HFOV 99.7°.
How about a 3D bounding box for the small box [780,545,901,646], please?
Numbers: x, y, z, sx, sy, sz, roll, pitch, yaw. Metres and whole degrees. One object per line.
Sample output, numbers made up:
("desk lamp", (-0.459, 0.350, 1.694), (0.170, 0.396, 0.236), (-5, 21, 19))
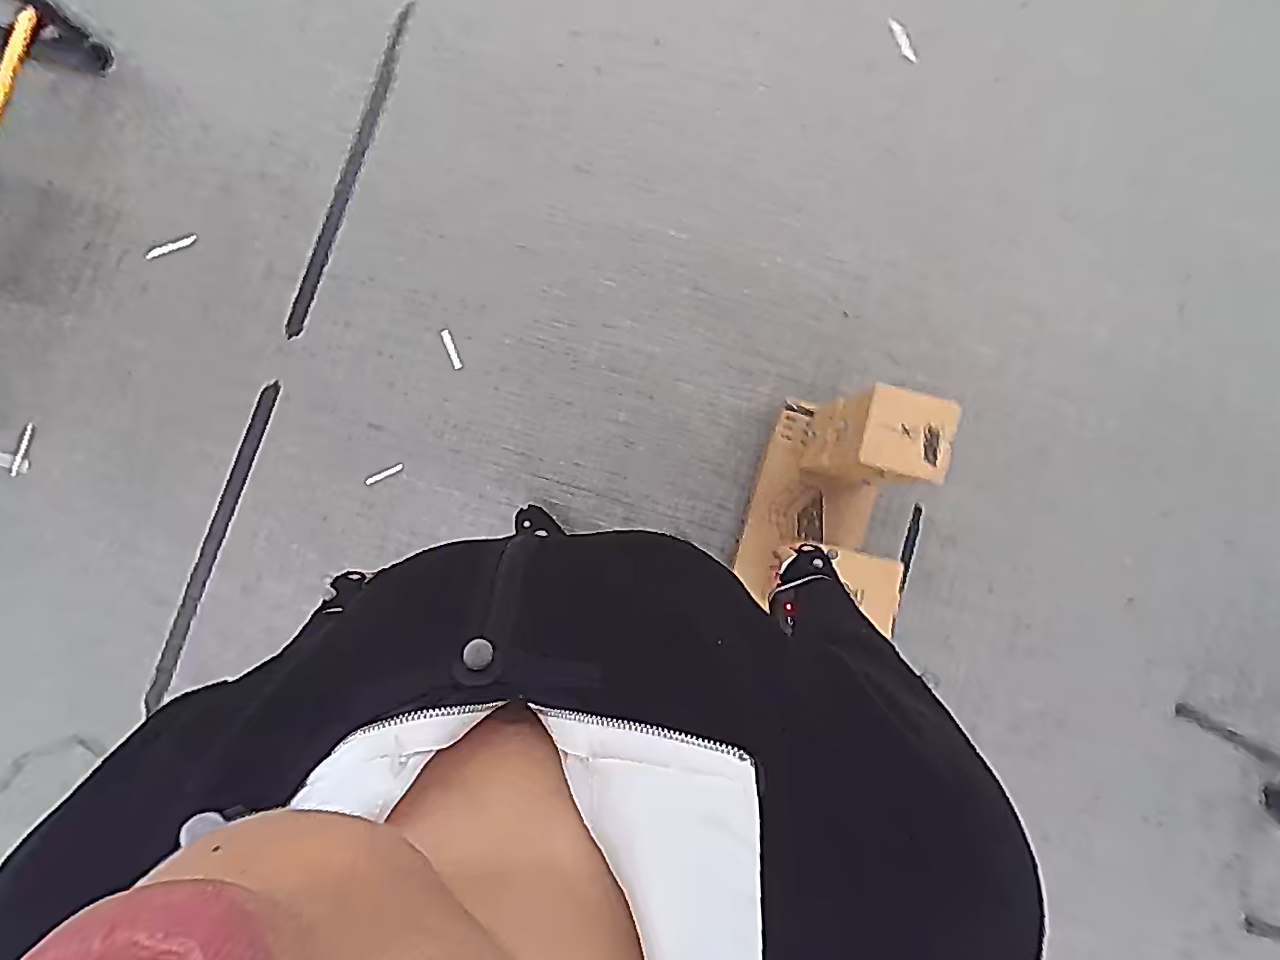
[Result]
("small box", (0.416, 0.236, 1.148), (0.179, 0.176, 0.168), (13, 86, 1))

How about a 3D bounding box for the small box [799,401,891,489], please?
("small box", (0.517, -0.080, 1.325), (0.179, 0.176, 0.168), (17, 87, 1))

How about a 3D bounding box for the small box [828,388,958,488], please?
("small box", (0.534, -0.084, 1.161), (0.179, 0.176, 0.168), (16, 88, 1))

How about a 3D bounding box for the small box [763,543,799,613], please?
("small box", (0.413, 0.254, 1.312), (0.179, 0.176, 0.168), (16, 86, 1))
